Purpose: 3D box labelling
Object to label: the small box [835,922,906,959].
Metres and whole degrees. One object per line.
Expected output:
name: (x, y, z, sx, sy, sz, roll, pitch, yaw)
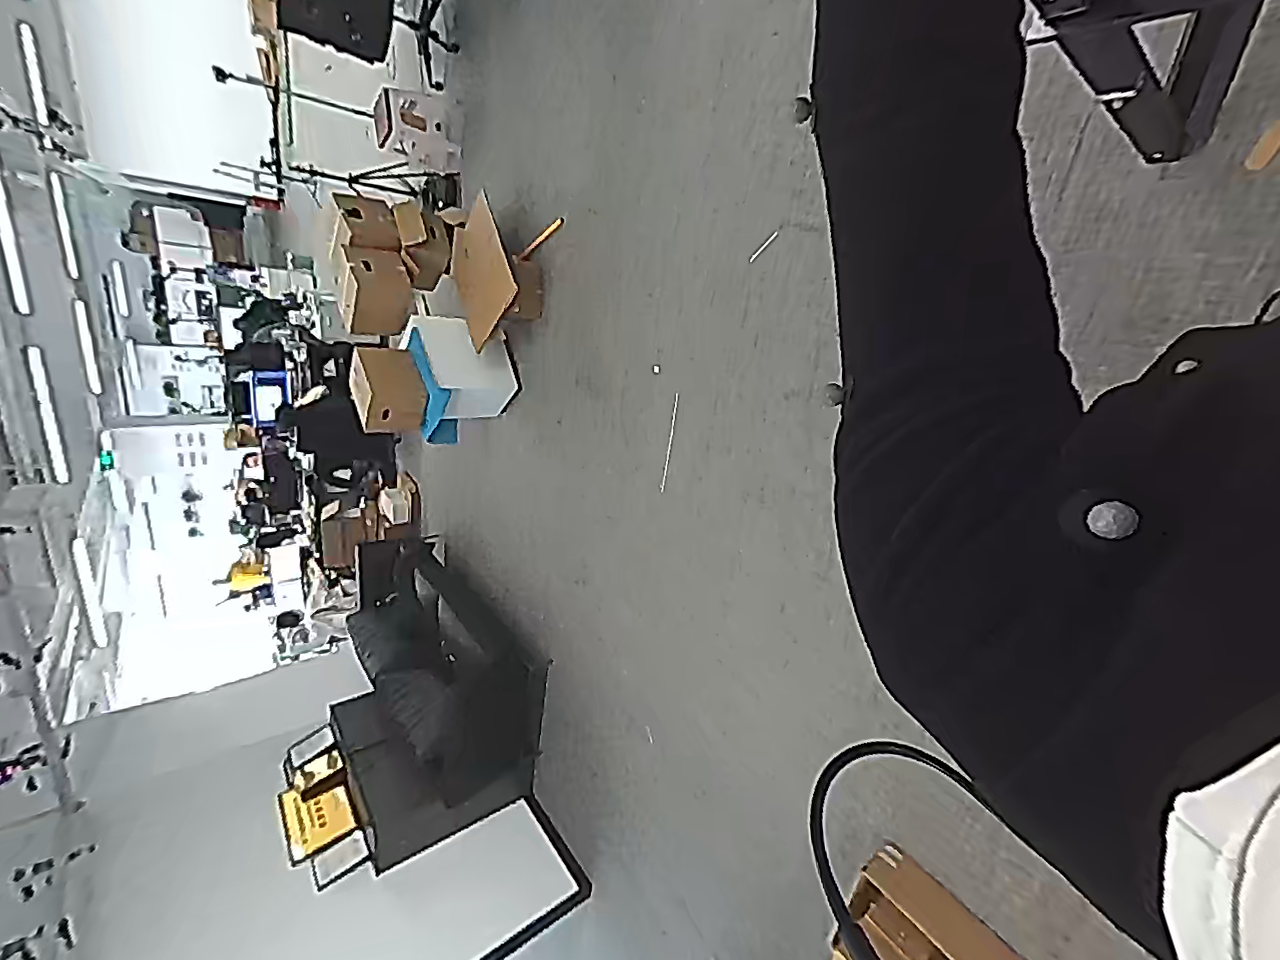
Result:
small box: (0.691, 1.490, 1.616, 0.179, 0.176, 0.168, 30, 117, 45)
